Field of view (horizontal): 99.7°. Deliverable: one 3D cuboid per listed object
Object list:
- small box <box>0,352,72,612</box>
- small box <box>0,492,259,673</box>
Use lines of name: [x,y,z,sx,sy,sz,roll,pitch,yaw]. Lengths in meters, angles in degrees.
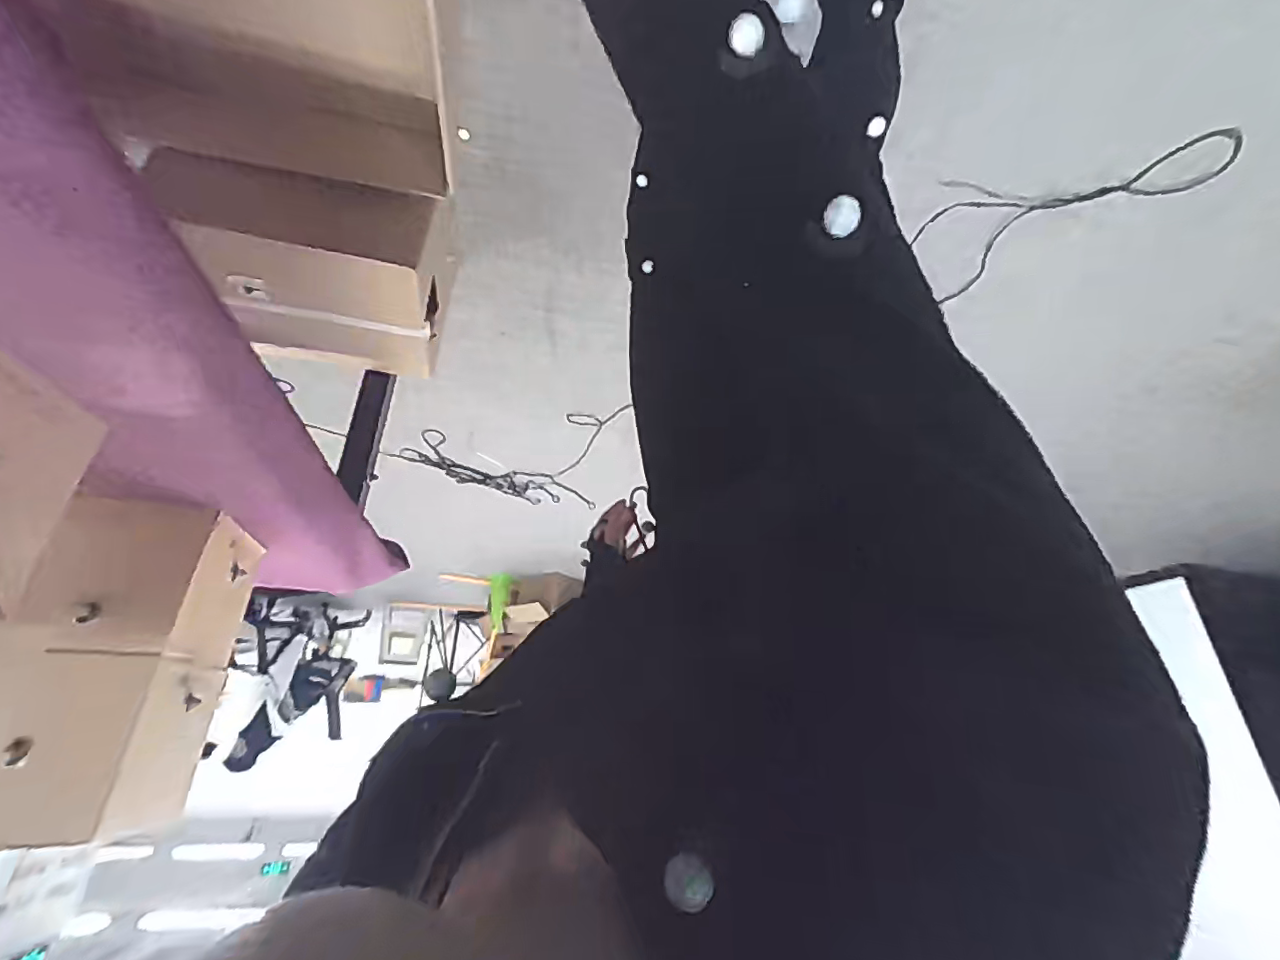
small box: [-0.508,-0.020,0.320,0.179,0.176,0.168,5,154,-8]
small box: [-0.593,0.125,0.634,0.179,0.176,0.168,7,154,-14]
